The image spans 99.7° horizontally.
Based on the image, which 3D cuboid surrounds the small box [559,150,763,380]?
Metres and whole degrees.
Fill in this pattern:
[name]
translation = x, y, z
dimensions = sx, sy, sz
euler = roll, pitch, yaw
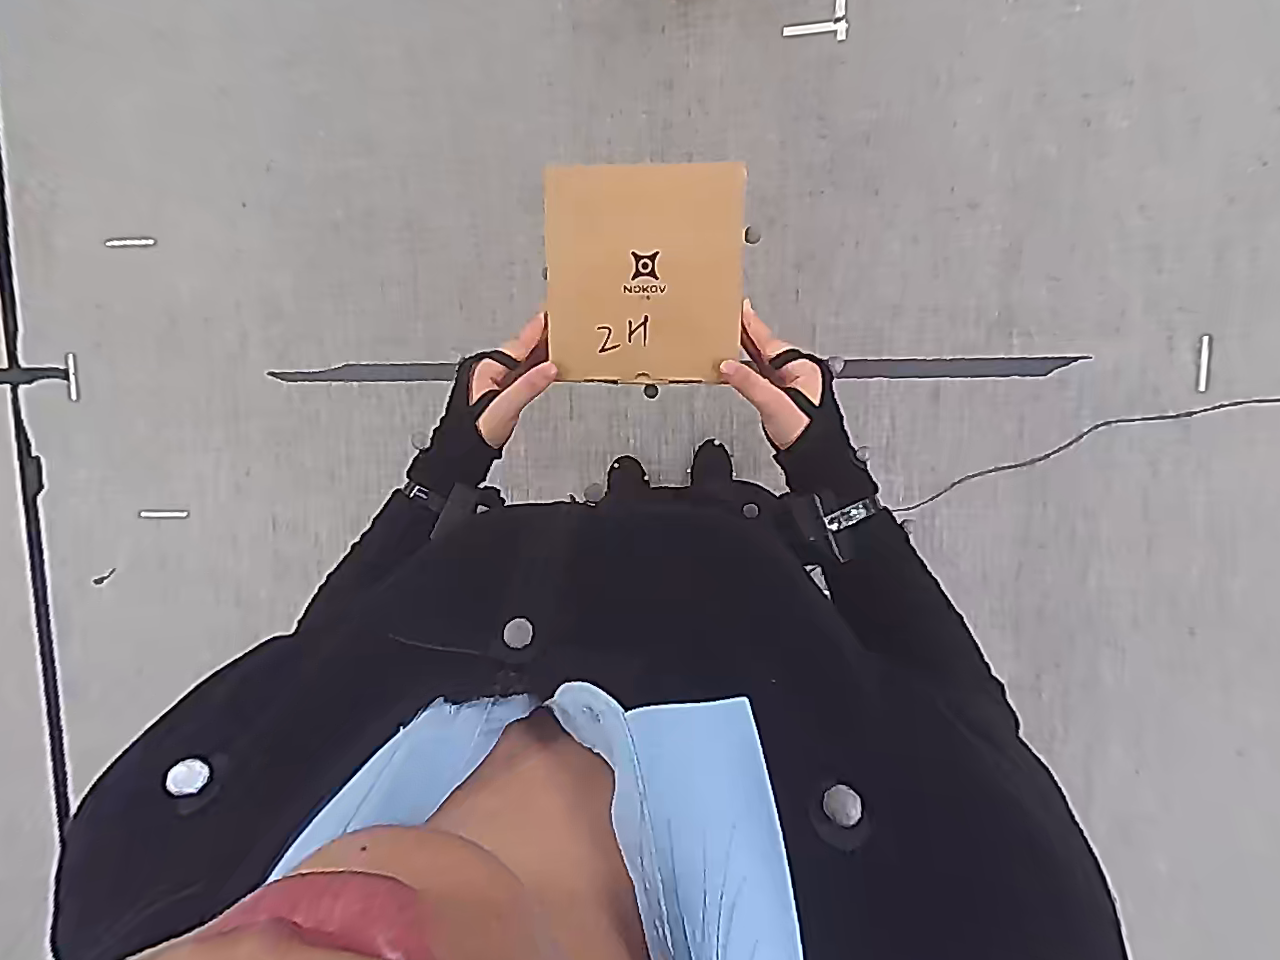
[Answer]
[small box]
translation = 0.020, -0.188, 0.521
dimensions = 0.168, 0.176, 0.179
euler = 2, 100, 5
